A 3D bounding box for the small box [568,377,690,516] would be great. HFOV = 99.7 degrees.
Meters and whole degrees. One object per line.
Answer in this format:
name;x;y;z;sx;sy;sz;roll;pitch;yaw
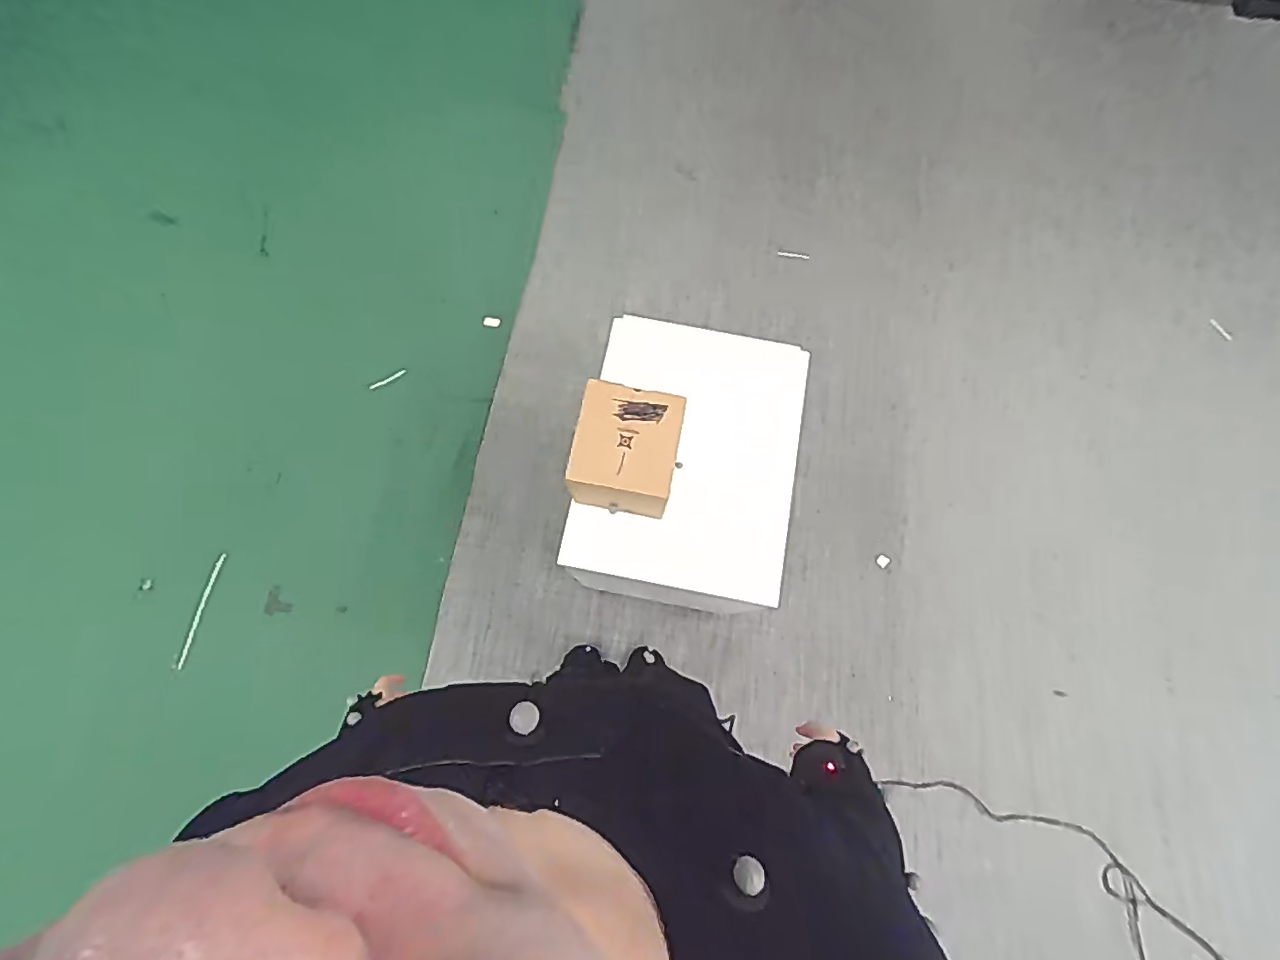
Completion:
small box;-0.017;-0.050;0.927;0.168;0.176;0.179;11;76;2
